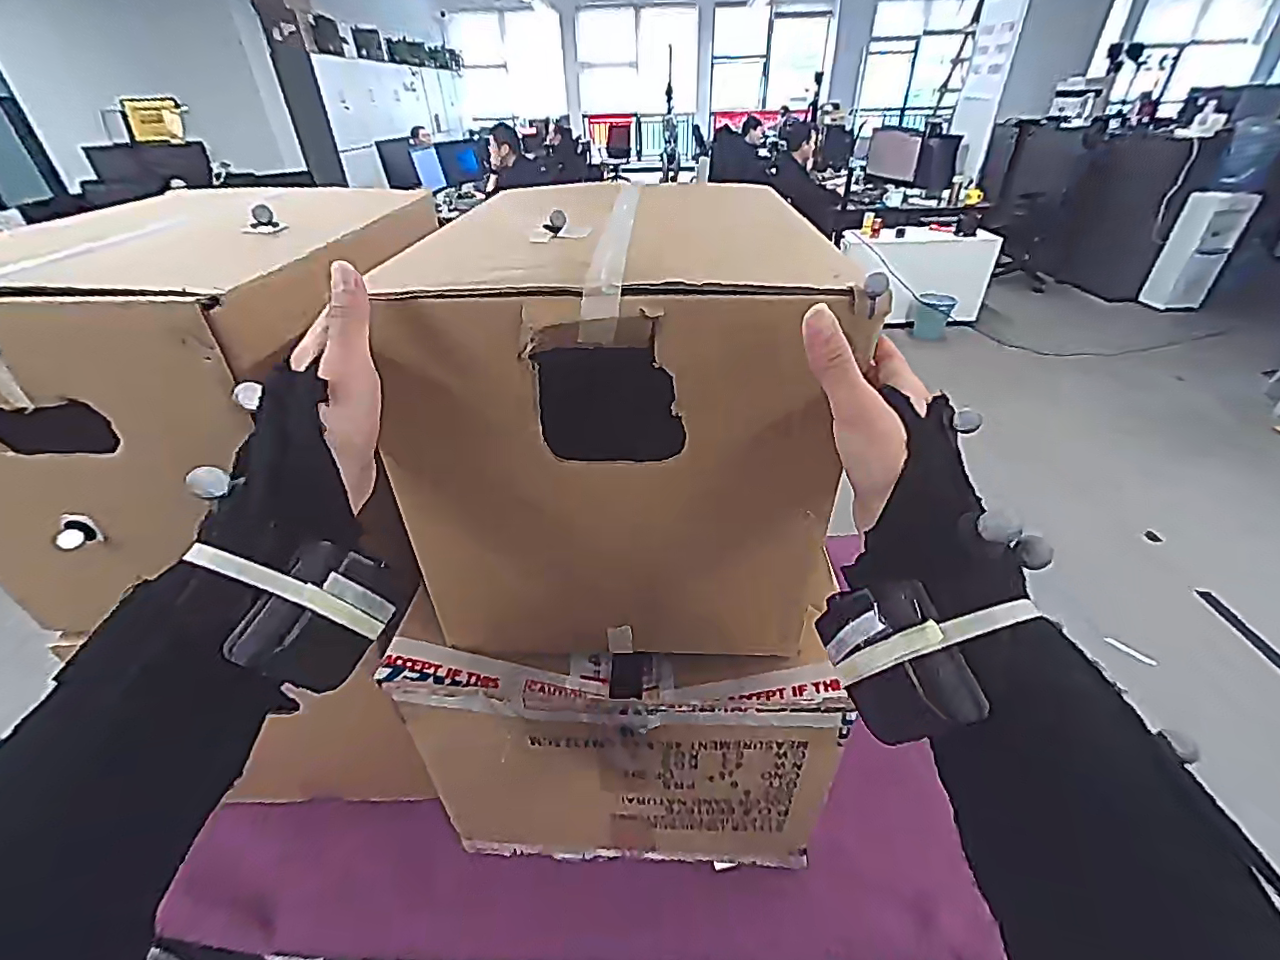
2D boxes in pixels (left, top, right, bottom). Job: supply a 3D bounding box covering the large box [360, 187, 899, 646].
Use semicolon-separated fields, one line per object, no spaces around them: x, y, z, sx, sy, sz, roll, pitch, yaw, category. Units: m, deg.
-0.004;-0.092;0.546;0.320;0.320;0.408;-1;36;2;large box
